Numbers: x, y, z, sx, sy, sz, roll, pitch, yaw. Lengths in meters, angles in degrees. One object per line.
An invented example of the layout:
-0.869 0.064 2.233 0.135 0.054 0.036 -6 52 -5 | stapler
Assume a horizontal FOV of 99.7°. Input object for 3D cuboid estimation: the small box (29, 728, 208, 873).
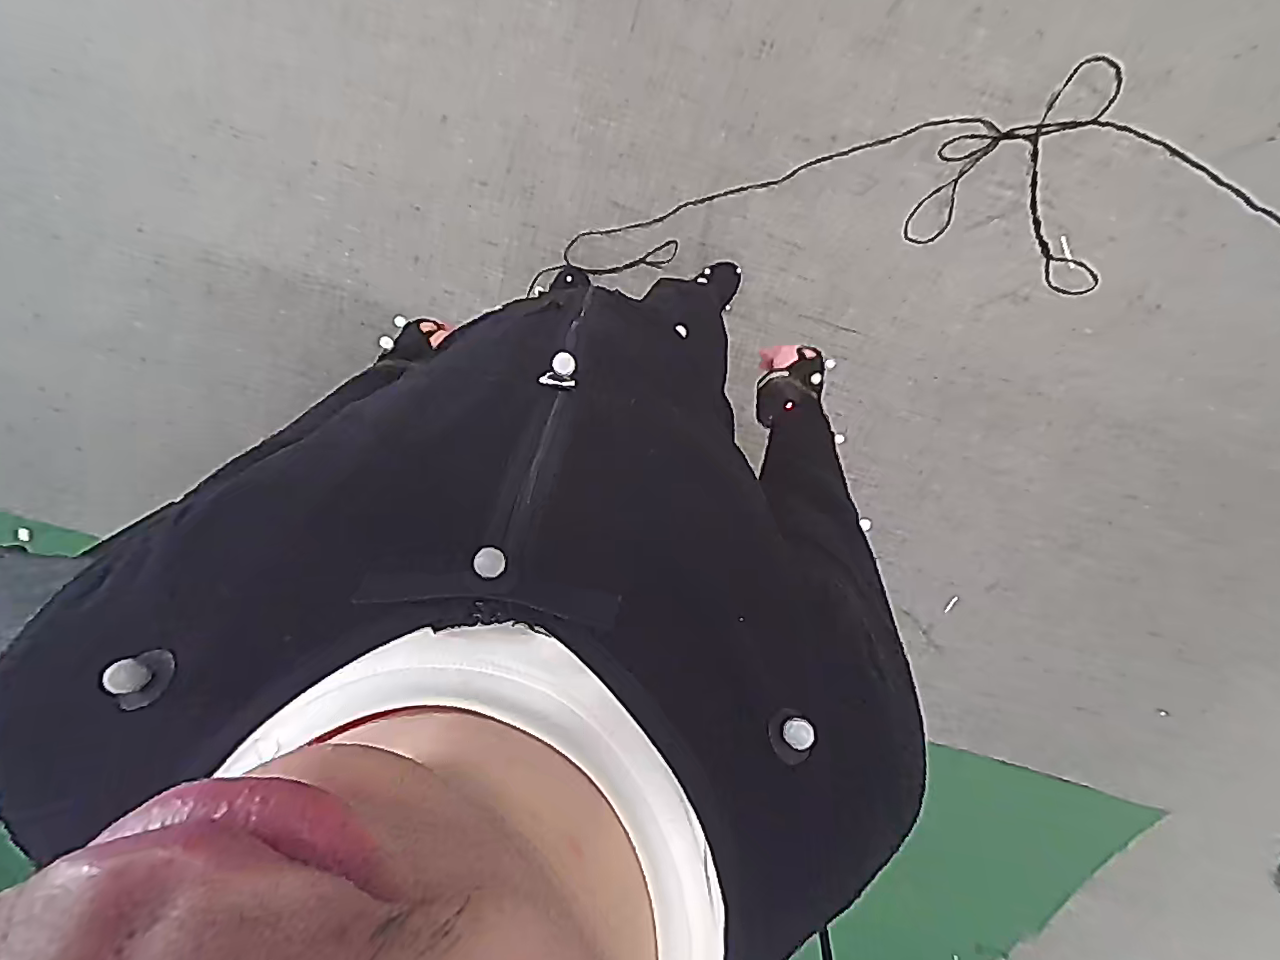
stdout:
-0.988 0.611 1.045 0.168 0.176 0.179 9 115 -1 | small box
